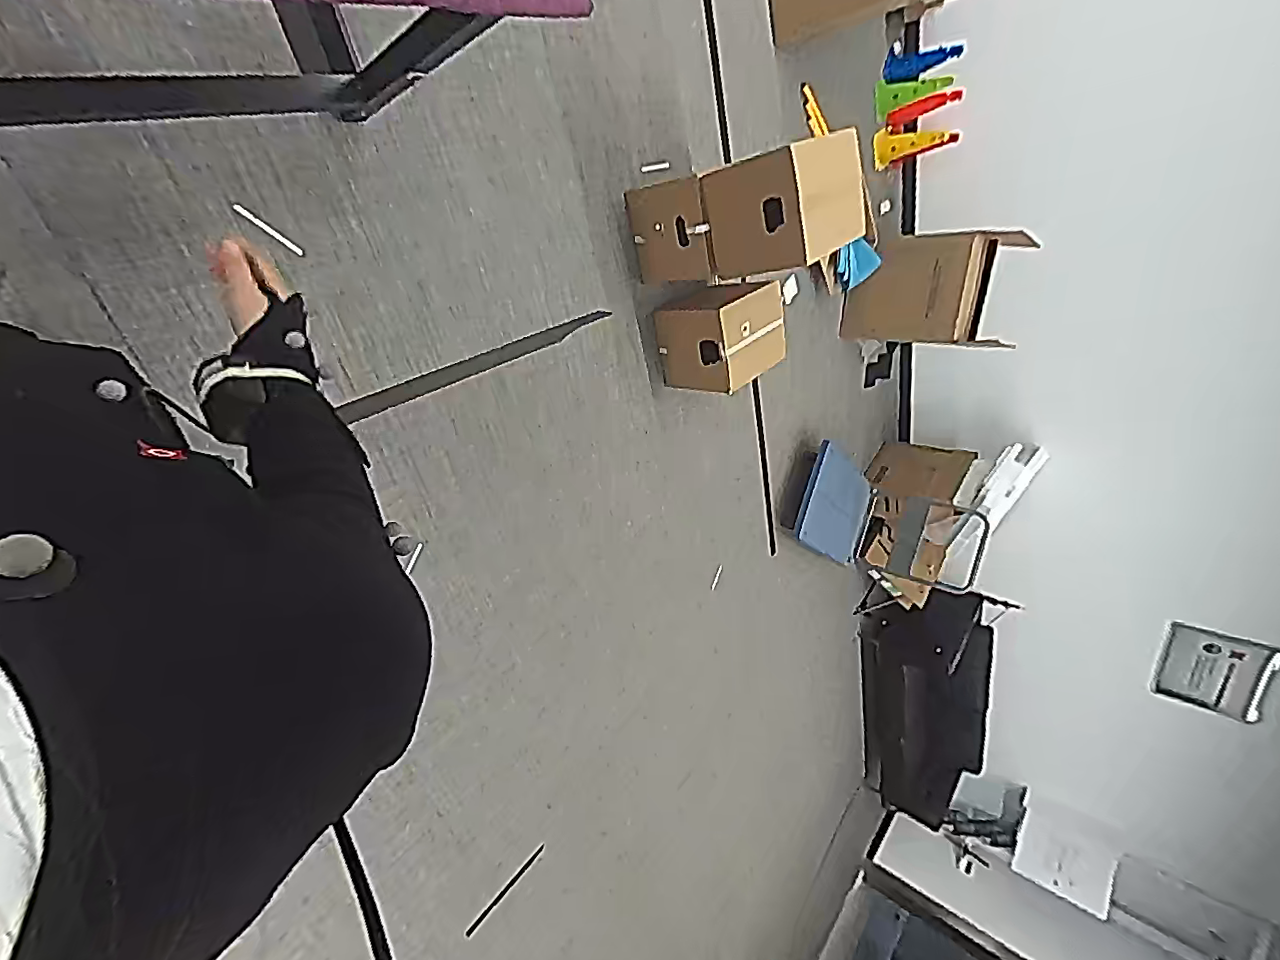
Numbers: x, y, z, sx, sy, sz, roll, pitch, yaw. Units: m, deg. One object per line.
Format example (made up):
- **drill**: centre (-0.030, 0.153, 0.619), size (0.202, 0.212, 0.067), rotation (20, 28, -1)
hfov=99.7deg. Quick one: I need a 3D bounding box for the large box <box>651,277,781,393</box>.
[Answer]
- **large box**: centre (0.305, -0.573, 2.101), size (0.408, 0.320, 0.320), rotation (-36, 125, -35)
